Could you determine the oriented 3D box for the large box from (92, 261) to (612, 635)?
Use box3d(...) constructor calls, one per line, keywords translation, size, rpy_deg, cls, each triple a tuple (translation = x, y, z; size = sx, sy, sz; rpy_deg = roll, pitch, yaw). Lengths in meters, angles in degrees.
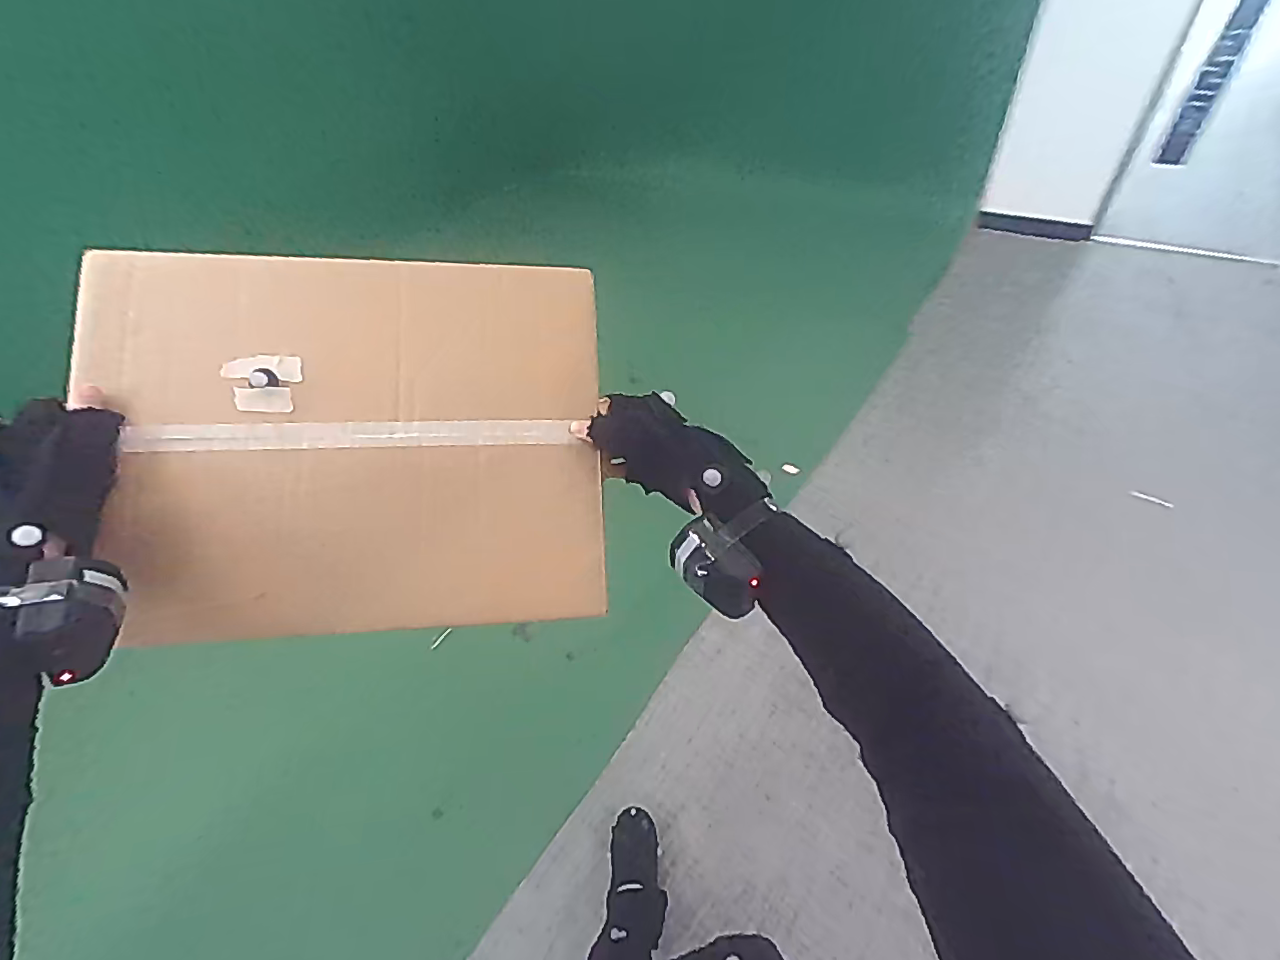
box3d(translation=(-0.246, -0.017, 0.604), size=(0.408, 0.320, 0.320), rpy_deg=(-1, 81, -8), cls="large box")
